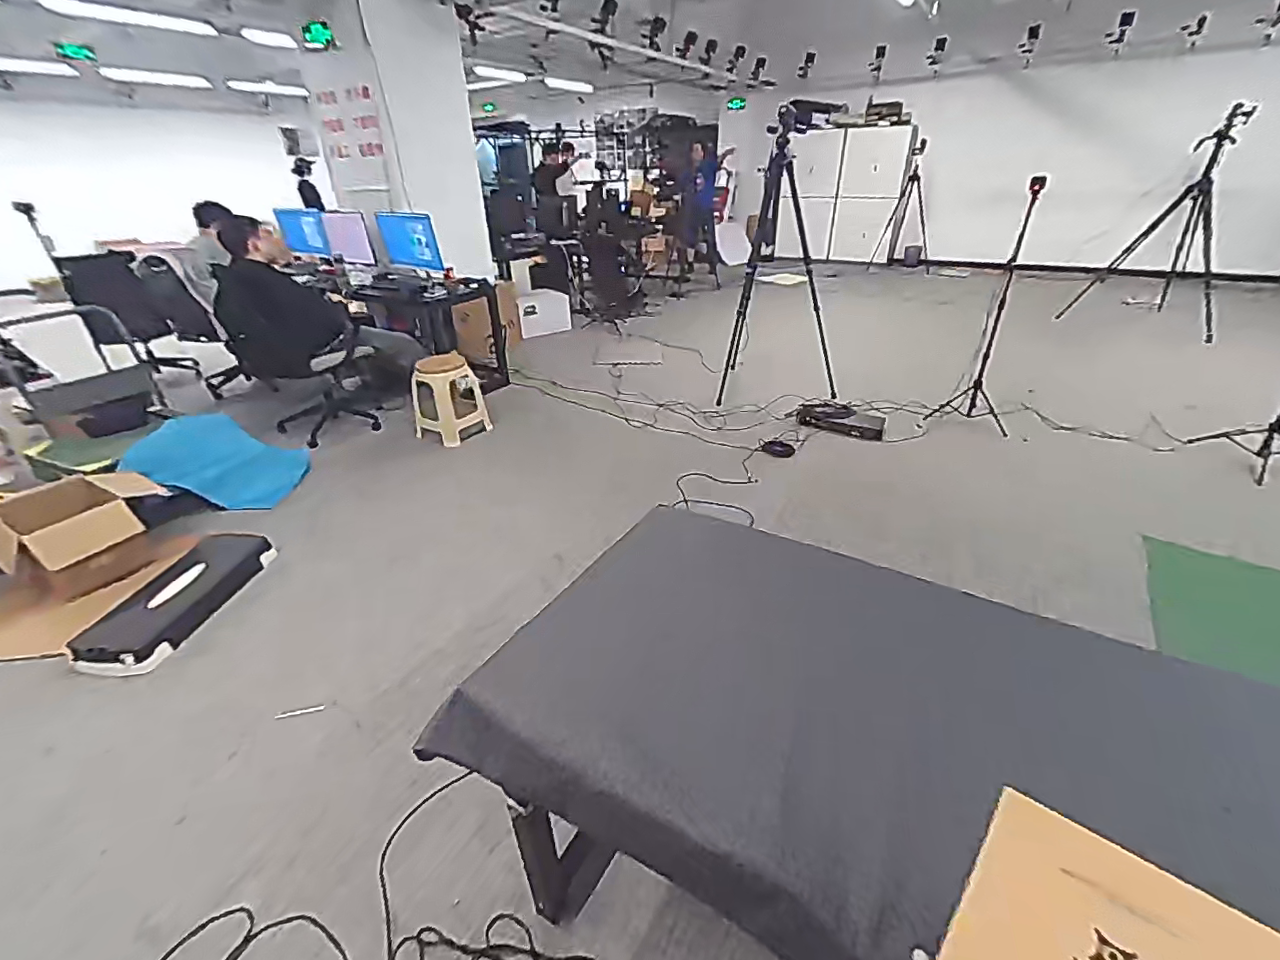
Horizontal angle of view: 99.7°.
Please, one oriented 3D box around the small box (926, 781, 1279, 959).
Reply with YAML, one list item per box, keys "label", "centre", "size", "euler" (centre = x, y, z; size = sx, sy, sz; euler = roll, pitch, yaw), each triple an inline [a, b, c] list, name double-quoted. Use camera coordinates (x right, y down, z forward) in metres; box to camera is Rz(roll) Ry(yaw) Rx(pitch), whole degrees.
- label: "small box"
  centre: [0.312, 0.379, 0.390]
  size: [0.168, 0.176, 0.179]
  euler: [20, 37, 40]
